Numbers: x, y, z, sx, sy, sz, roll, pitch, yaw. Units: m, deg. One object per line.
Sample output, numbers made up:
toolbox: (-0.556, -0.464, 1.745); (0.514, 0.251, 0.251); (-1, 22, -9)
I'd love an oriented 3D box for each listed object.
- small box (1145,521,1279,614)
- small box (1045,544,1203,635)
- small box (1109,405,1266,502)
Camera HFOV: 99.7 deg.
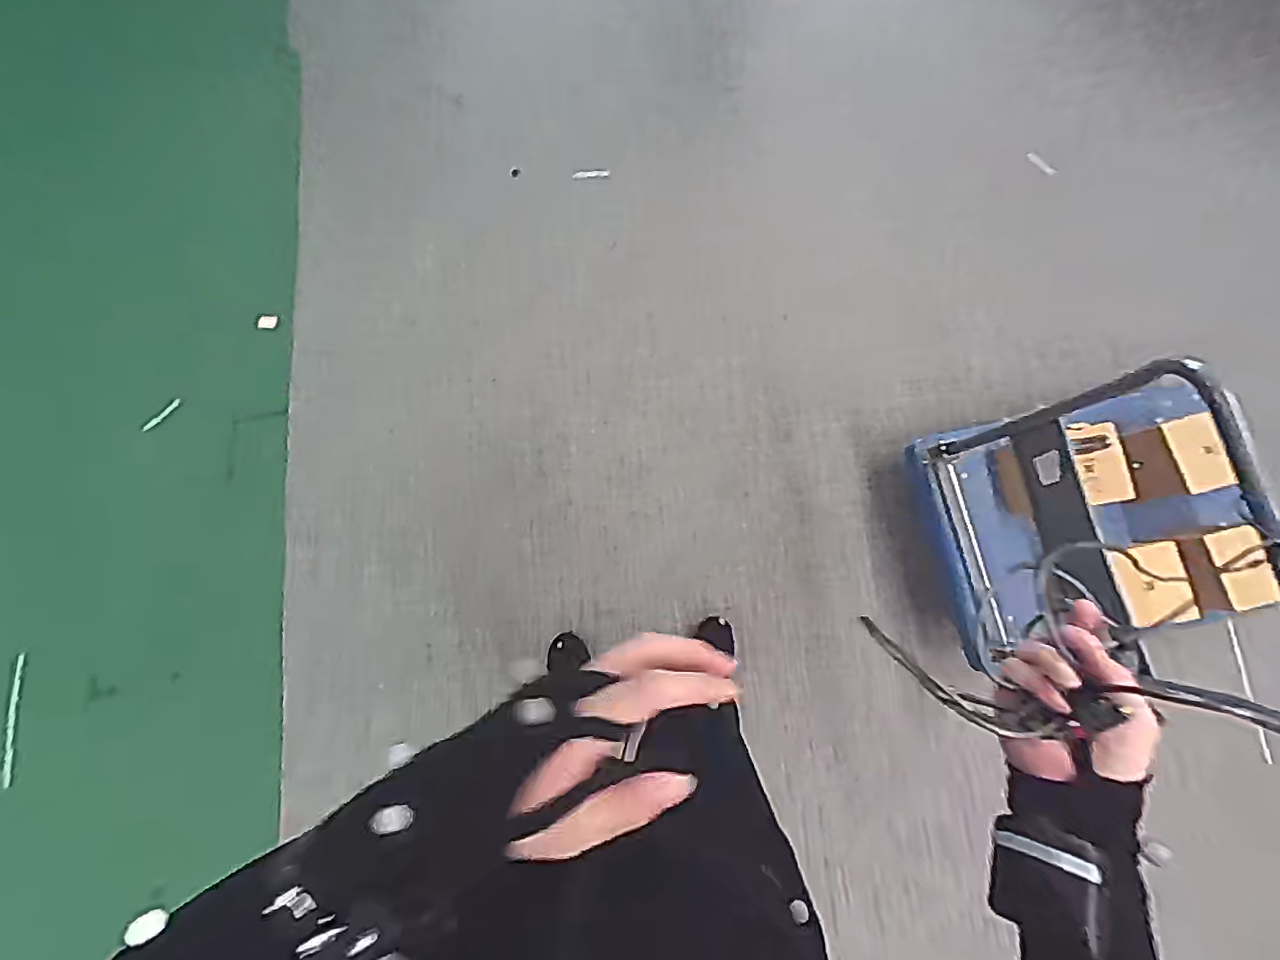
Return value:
small box: (1.299, 0.194, 1.208); (0.179, 0.176, 0.168); (-13, 80, -3)
small box: (1.059, 0.238, 1.199); (0.179, 0.176, 0.168); (-10, 80, -2)
small box: (1.248, -0.053, 1.253); (0.179, 0.176, 0.168); (-15, 81, -4)
